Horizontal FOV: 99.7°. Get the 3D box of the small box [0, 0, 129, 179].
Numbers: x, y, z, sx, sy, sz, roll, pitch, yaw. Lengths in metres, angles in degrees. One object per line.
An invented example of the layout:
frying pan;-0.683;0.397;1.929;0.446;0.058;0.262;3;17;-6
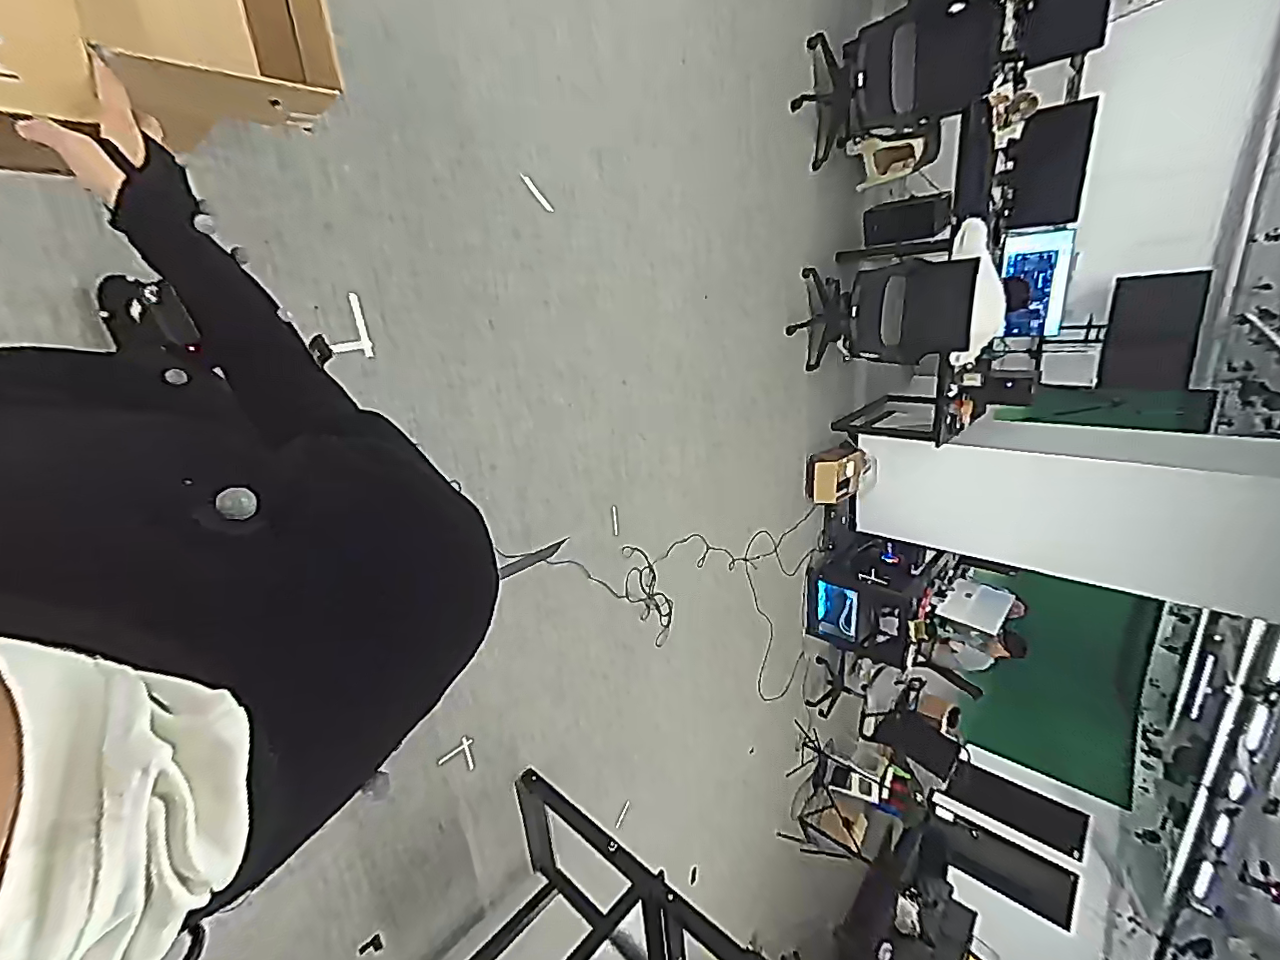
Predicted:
small box;-0.568;-0.373;0.453;0.168;0.176;0.179;-14;108;-35
